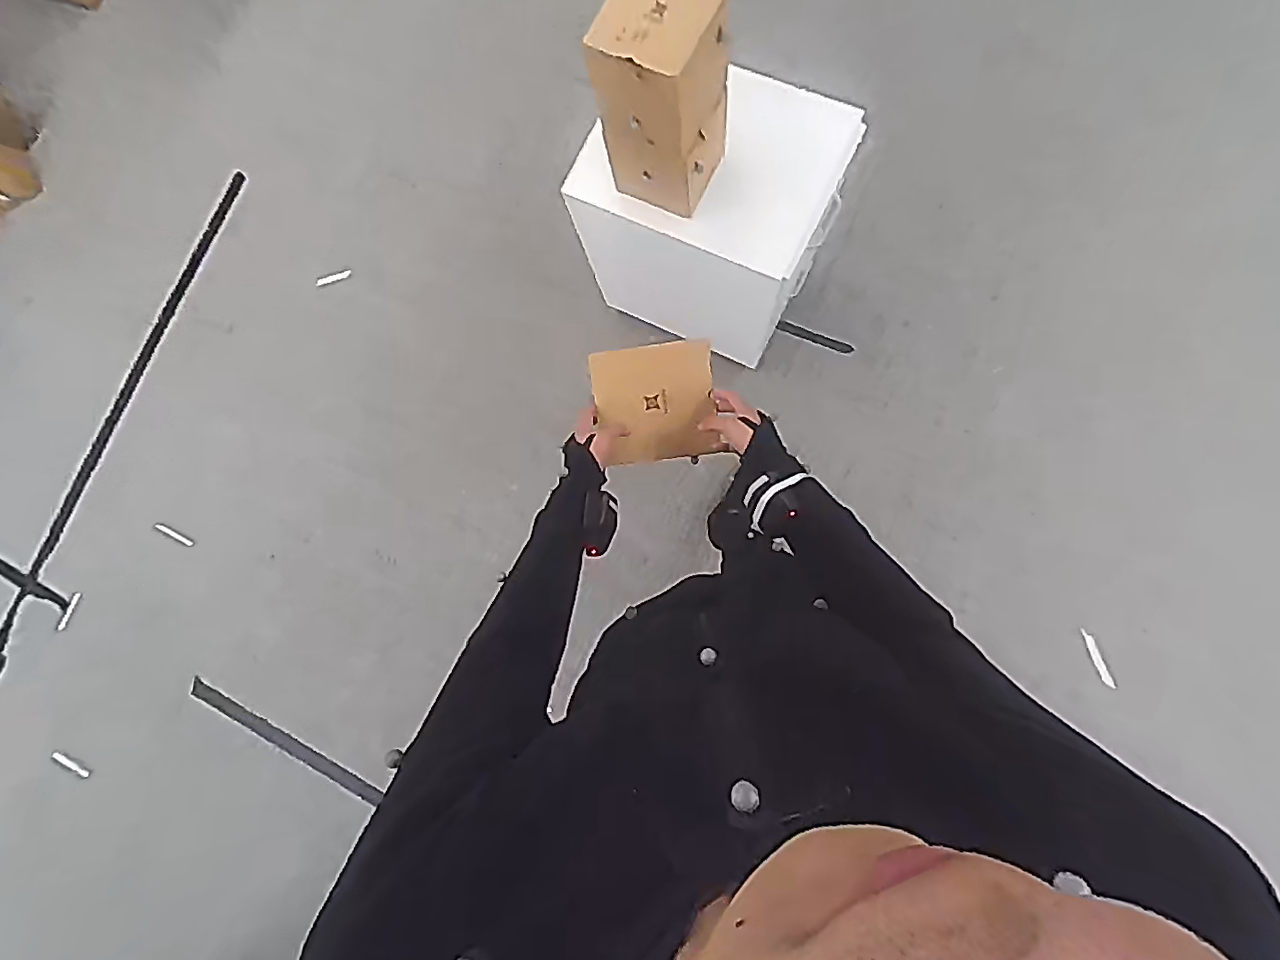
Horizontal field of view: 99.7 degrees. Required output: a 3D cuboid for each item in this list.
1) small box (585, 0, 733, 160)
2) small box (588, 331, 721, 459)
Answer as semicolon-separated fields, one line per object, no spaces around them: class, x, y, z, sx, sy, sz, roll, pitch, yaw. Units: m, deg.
small box;0.035;-0.676;0.881;0.168;0.176;0.179;28;87;10
small box;0.025;-0.127;0.852;0.179;0.176;0.168;-8;96;2
